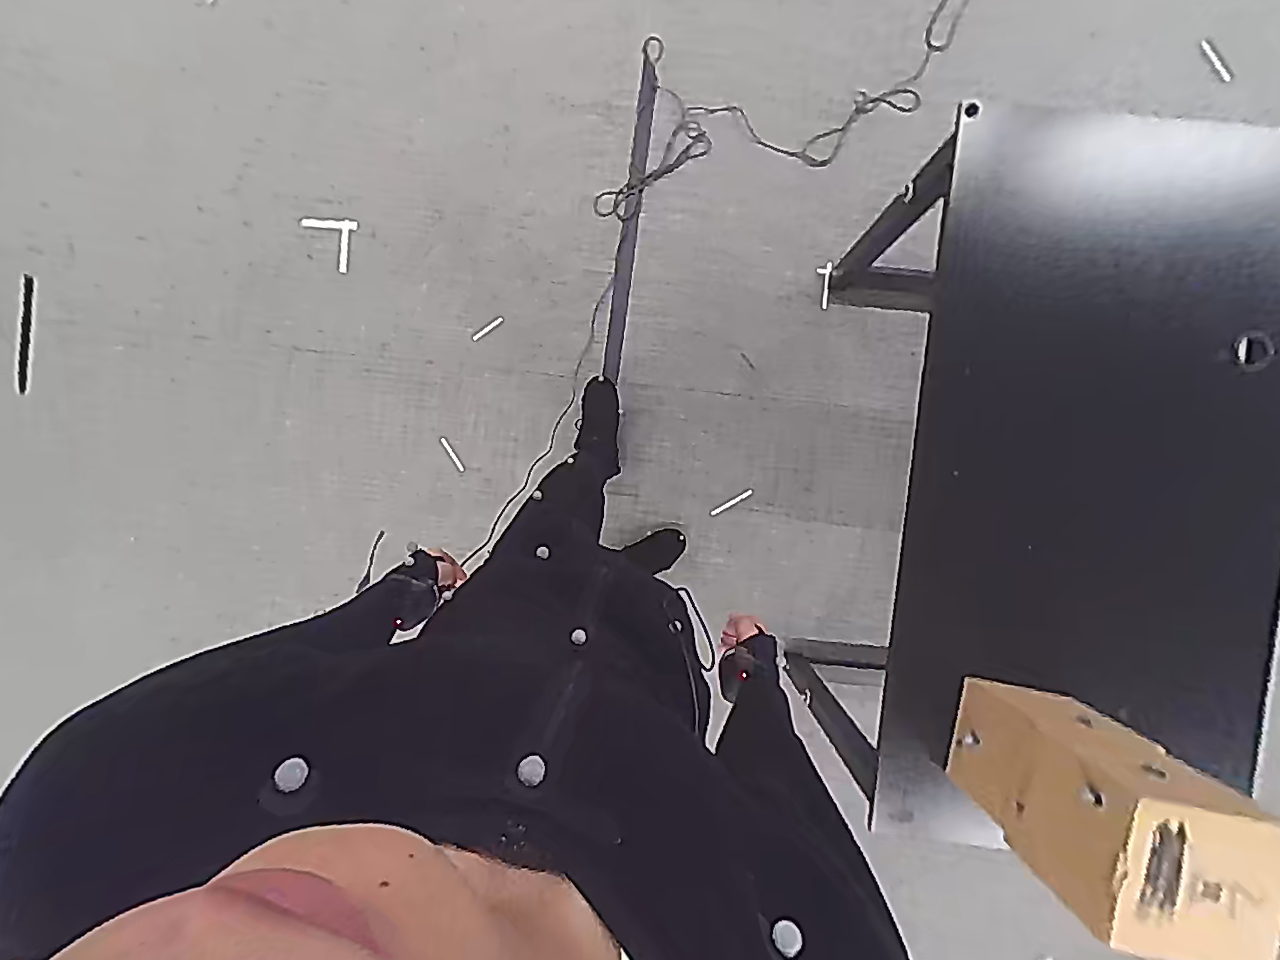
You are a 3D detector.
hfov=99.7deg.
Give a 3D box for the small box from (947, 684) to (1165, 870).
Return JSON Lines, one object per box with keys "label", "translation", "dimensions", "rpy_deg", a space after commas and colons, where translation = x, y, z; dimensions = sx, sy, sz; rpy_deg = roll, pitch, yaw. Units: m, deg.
{"label": "small box", "translation": [0.599, 0.424, 0.801], "dimensions": [0.179, 0.176, 0.168], "rpy_deg": [12, 91, 1]}
